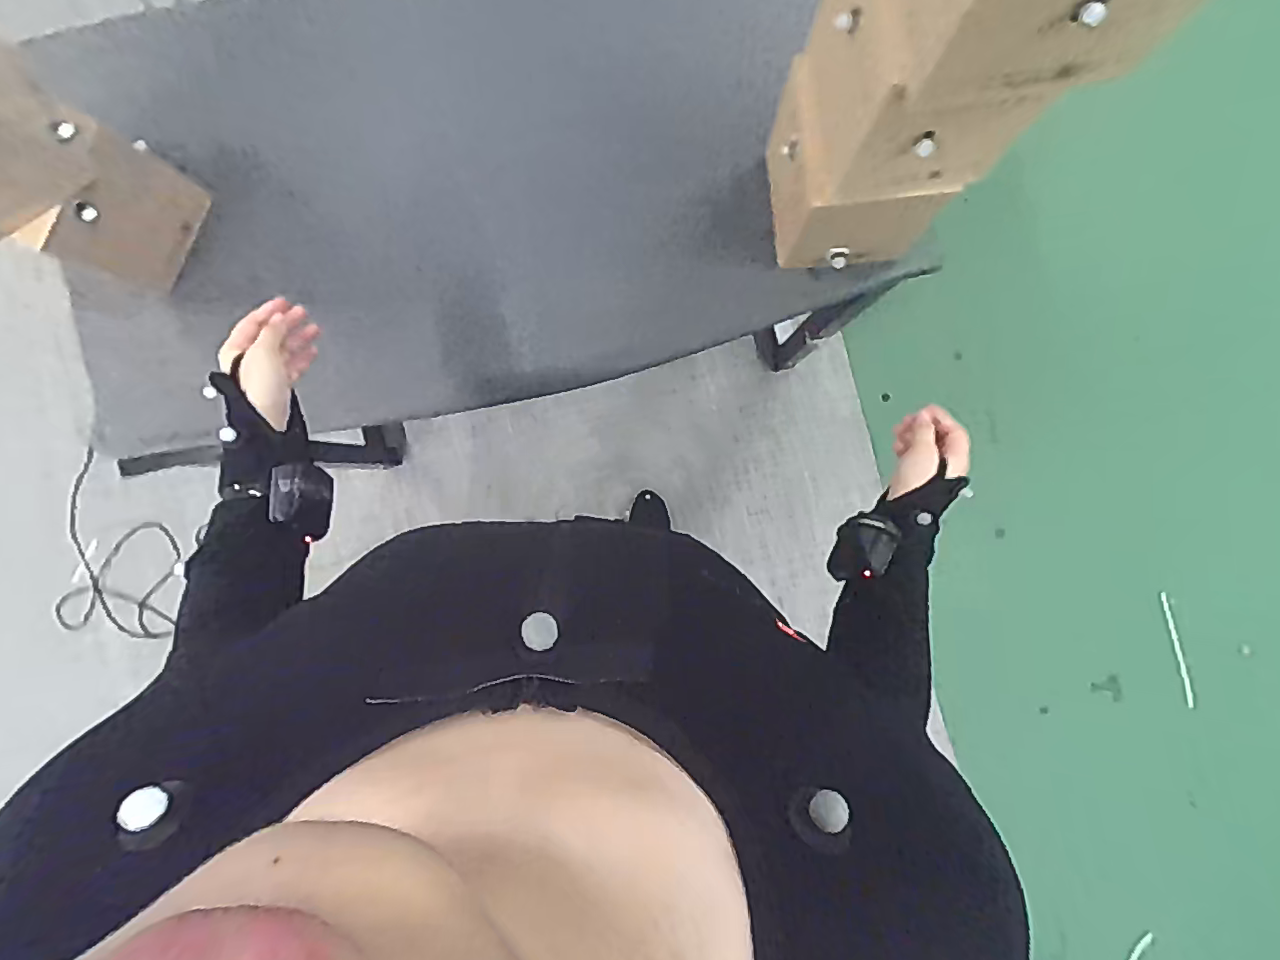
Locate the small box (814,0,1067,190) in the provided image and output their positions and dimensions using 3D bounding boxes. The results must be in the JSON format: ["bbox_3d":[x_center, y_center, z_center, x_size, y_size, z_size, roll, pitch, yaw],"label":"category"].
[{"bbox_3d":[0.273,-0.397,0.501,0.168,0.176,0.179,-7,86,3],"label":"small box"}]

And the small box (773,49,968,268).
[{"bbox_3d":[0.266,-0.387,0.663,0.168,0.176,0.179,-5,88,3],"label":"small box"}]

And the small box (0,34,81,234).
[{"bbox_3d":[-0.717,-0.369,0.525,0.179,0.176,0.168,-32,91,2],"label":"small box"}]

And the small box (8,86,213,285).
[{"bbox_3d":[-0.715,-0.376,0.690,0.179,0.176,0.168,27,91,0],"label":"small box"}]
